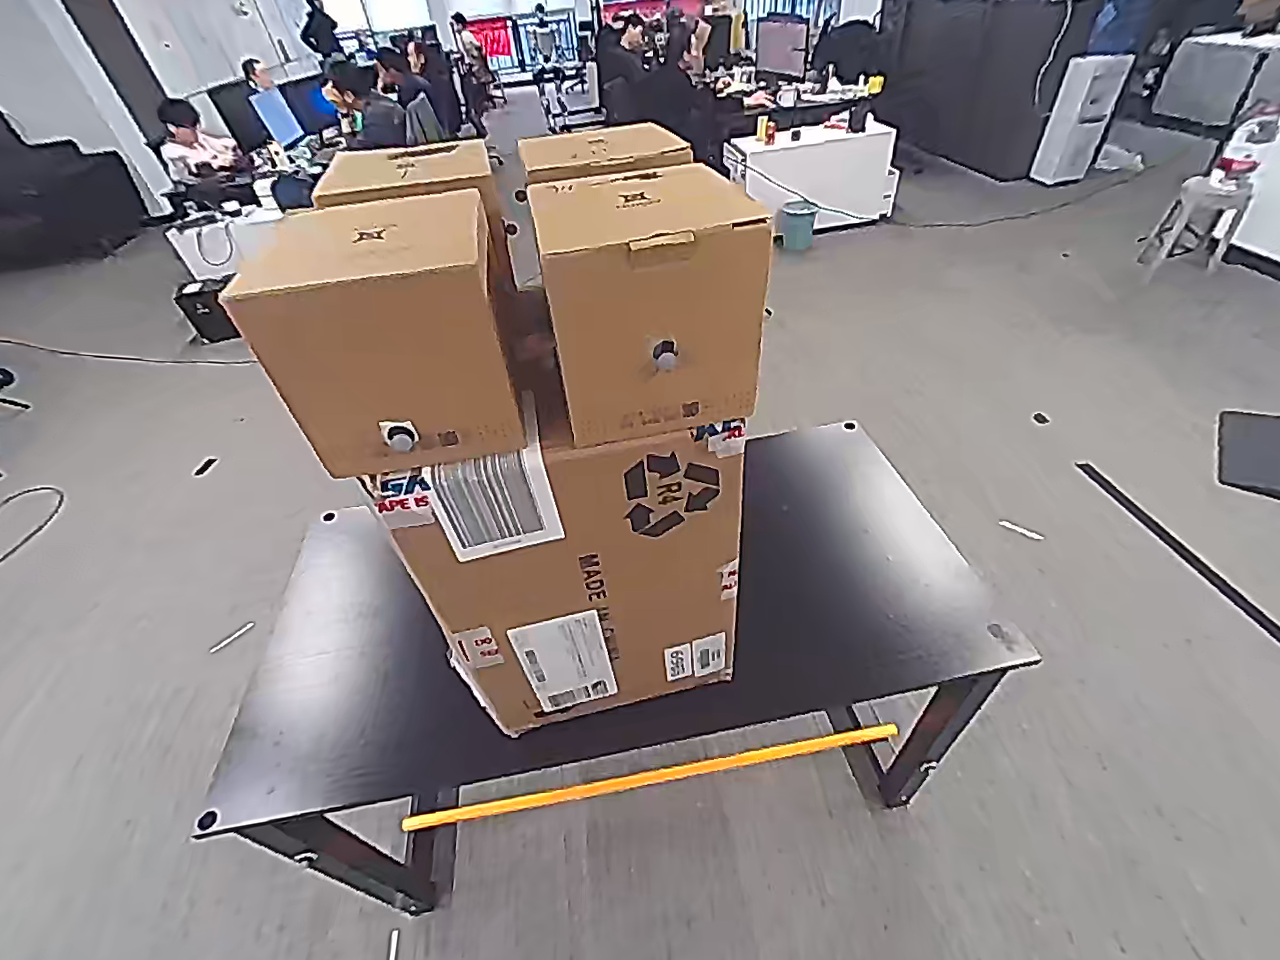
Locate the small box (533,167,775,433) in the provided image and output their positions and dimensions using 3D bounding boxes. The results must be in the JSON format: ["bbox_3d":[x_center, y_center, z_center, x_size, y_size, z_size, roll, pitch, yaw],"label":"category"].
[{"bbox_3d":[0.005,-0.156,0.482,0.168,0.176,0.179,-10,44,-7],"label":"small box"}]
